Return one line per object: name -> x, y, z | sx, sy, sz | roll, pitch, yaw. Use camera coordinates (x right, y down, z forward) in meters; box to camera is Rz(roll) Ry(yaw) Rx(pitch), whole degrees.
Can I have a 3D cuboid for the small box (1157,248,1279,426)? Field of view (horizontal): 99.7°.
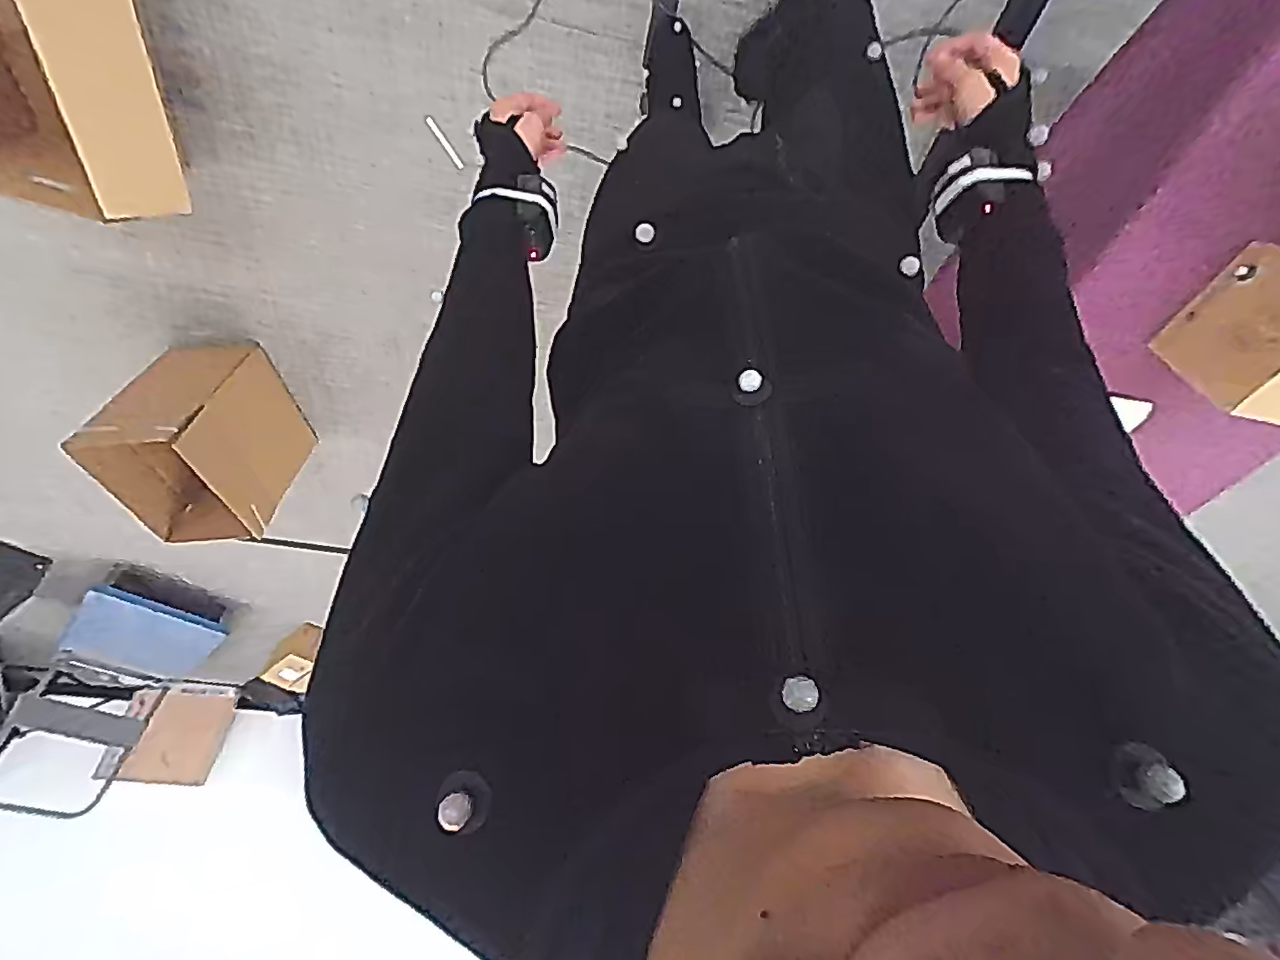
small box -> 0.872, -0.186, 0.721 | 0.179, 0.176, 0.168 | 8, 136, -9
